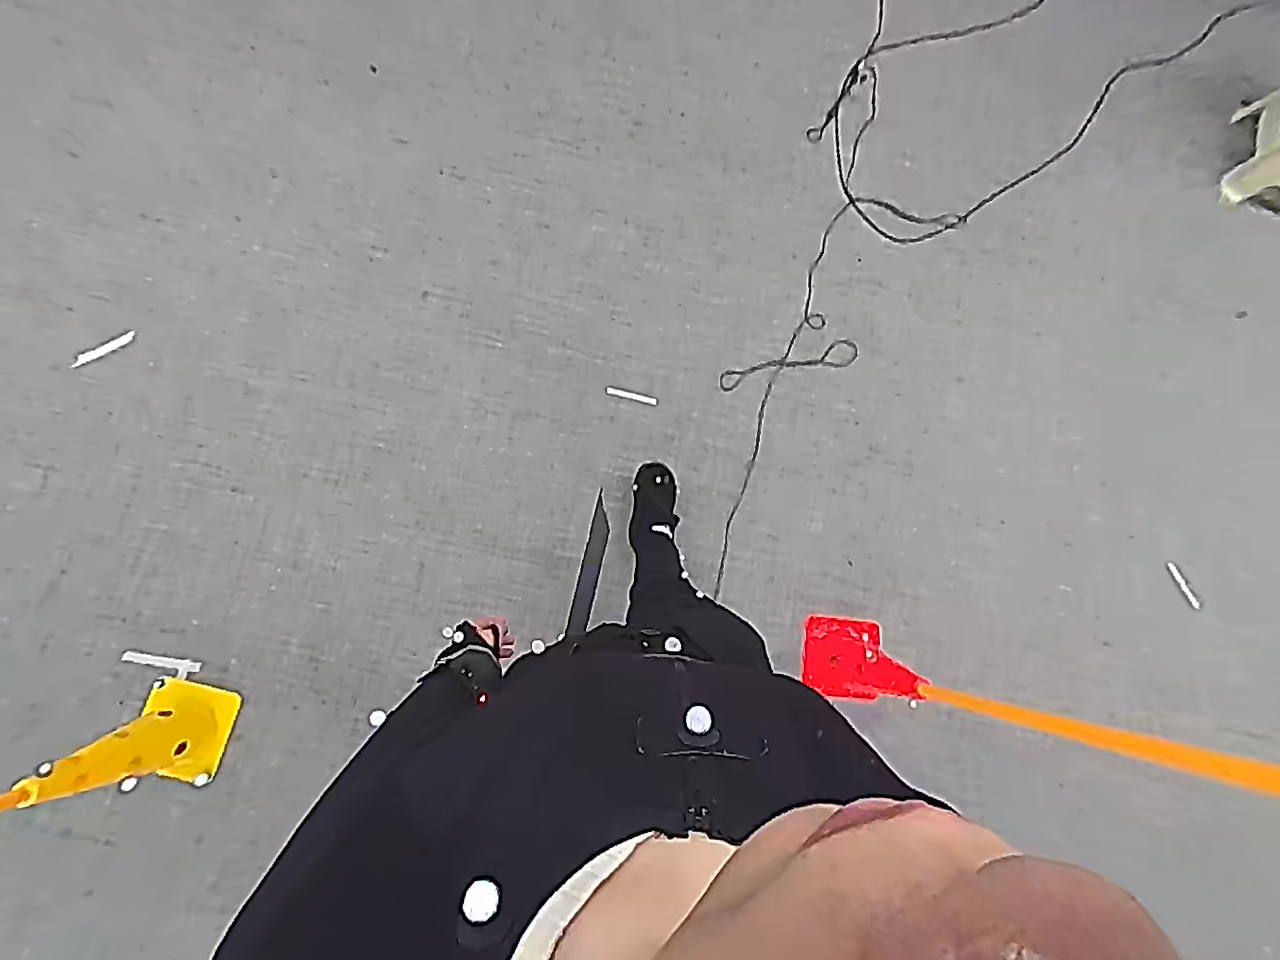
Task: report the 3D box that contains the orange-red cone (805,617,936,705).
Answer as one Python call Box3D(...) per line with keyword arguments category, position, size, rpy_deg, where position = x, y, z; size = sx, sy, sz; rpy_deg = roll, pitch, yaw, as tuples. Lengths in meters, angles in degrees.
Box3D(category="orange-red cone", position=(0.528, 0.426, 1.193), size=(0.199, 0.360, 0.198), rpy_deg=(8, 80, -2))
